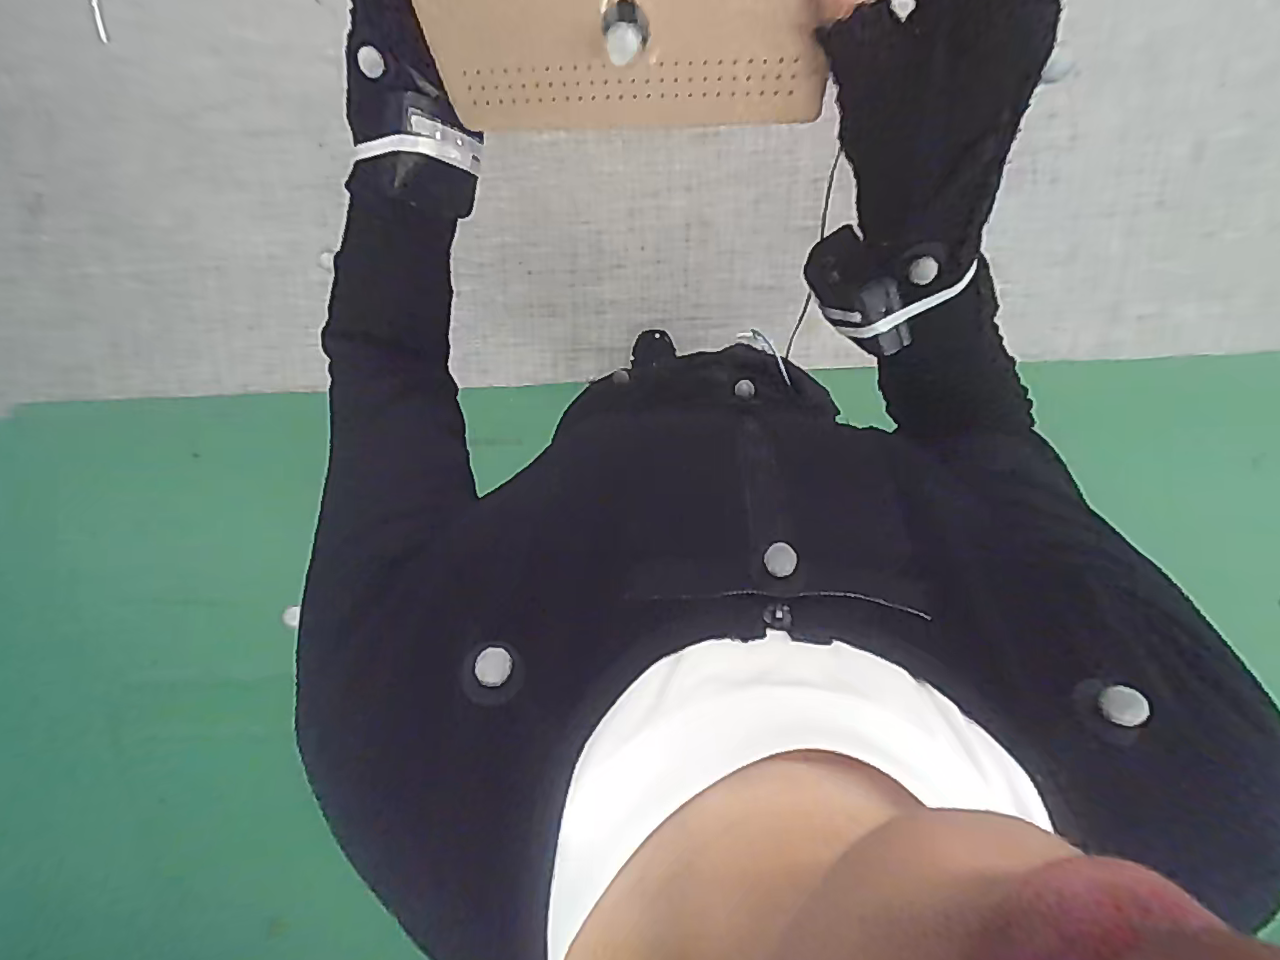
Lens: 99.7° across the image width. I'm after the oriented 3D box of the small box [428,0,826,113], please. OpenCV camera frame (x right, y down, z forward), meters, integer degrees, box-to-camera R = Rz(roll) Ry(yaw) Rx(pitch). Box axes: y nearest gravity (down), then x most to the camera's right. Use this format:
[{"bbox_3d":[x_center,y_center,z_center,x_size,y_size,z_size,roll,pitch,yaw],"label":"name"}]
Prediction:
[{"bbox_3d":[-0.002,-0.286,0.227,0.179,0.176,0.168,2,64,5],"label":"small box"}]
